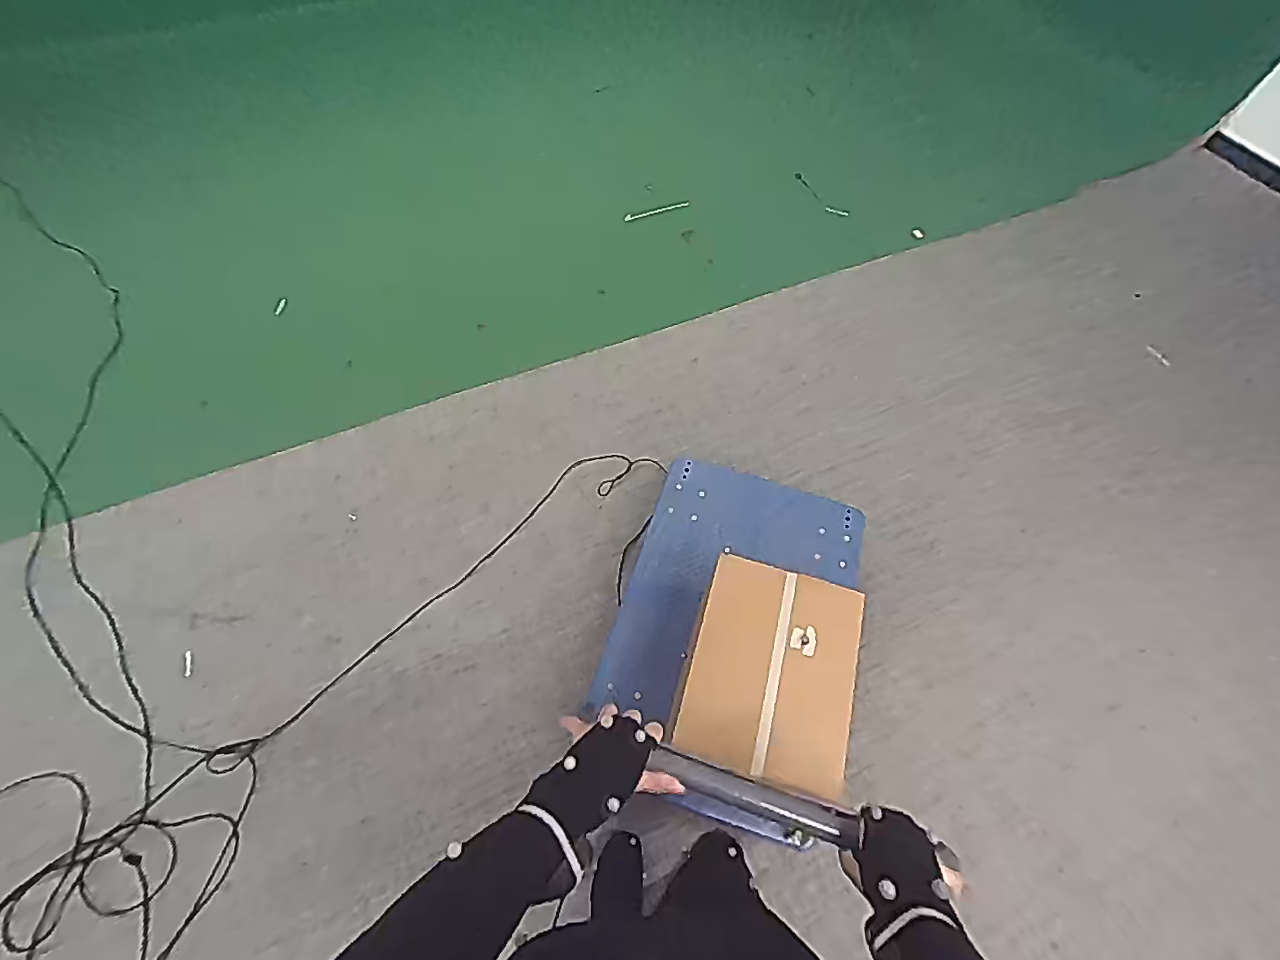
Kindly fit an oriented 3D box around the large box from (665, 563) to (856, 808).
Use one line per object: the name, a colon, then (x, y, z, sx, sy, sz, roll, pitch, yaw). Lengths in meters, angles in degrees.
large box: (0.256, 0.459, 1.201, 0.320, 0.320, 0.408, 16, 61, 7)
